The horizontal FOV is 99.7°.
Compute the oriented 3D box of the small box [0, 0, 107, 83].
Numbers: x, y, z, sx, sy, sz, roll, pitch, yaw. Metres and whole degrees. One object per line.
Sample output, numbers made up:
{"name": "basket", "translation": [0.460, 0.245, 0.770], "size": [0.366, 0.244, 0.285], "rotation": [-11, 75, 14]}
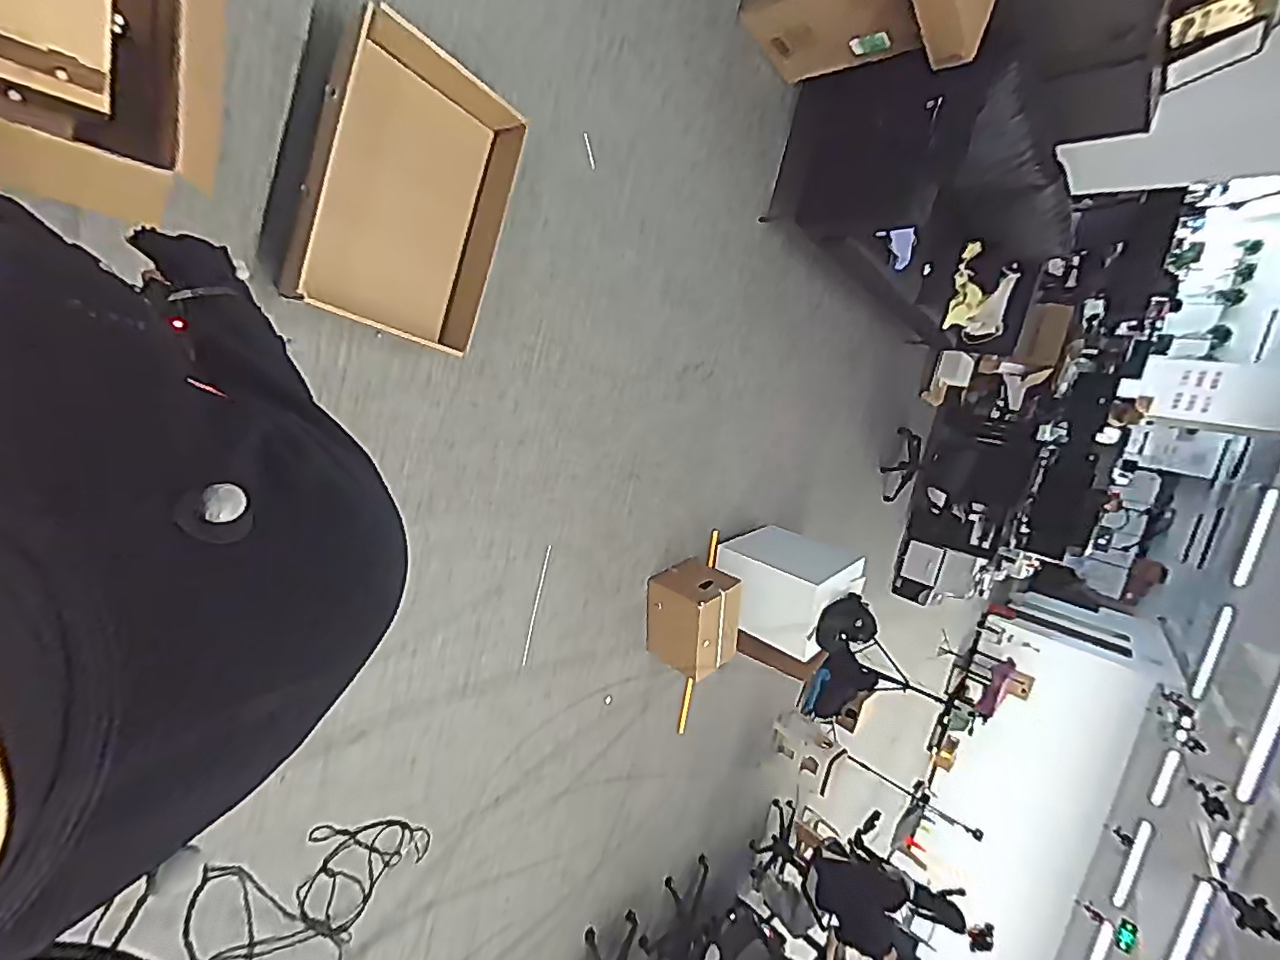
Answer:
{"name": "small box", "translation": [-0.826, -0.670, 0.718], "size": [0.168, 0.176, 0.179], "rotation": [-1, 107, -48]}
